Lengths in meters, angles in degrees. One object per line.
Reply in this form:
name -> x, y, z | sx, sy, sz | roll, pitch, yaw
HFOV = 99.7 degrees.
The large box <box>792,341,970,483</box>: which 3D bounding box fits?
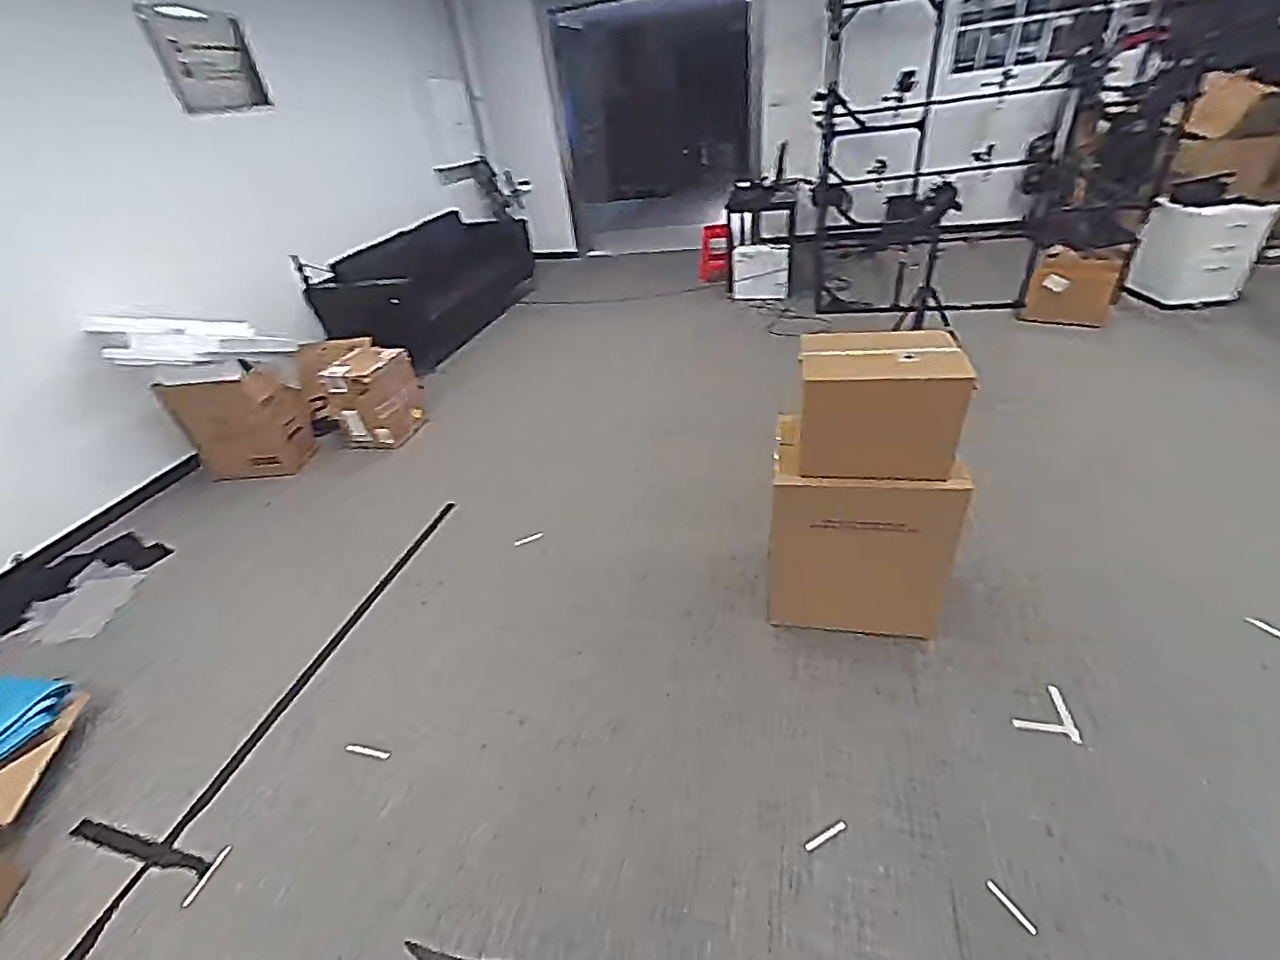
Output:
large box -> 0.662, -0.200, 1.571 | 0.408, 0.320, 0.320 | 2, 36, 13
